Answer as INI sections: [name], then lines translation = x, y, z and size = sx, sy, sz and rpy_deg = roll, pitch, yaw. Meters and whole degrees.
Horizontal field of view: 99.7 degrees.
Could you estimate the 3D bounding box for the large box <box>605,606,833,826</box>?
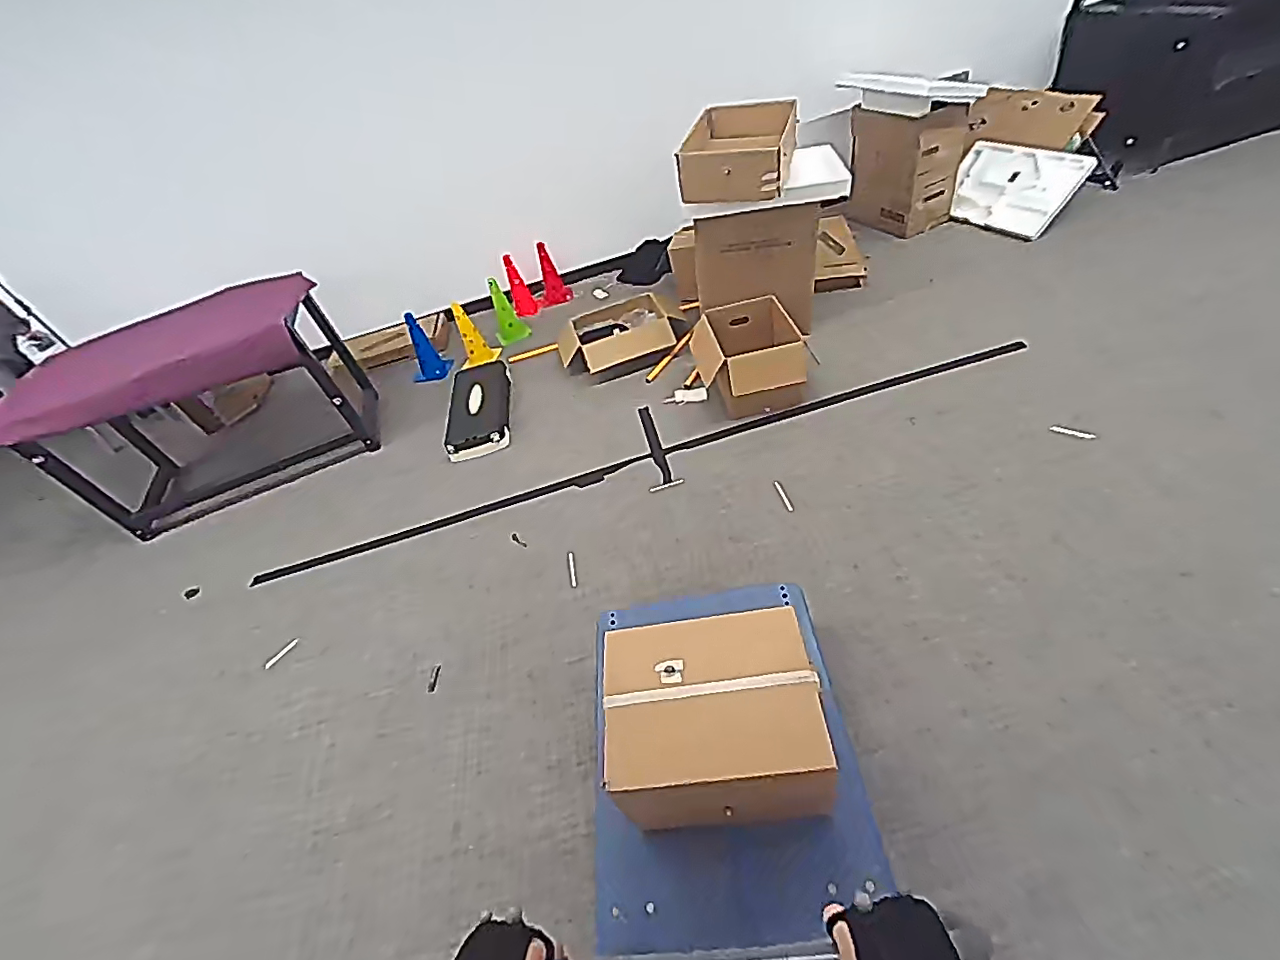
[large box]
translation = 0.161, 0.509, 1.151
size = 0.408, 0.320, 0.320
rpy_deg = -11, 44, 7
